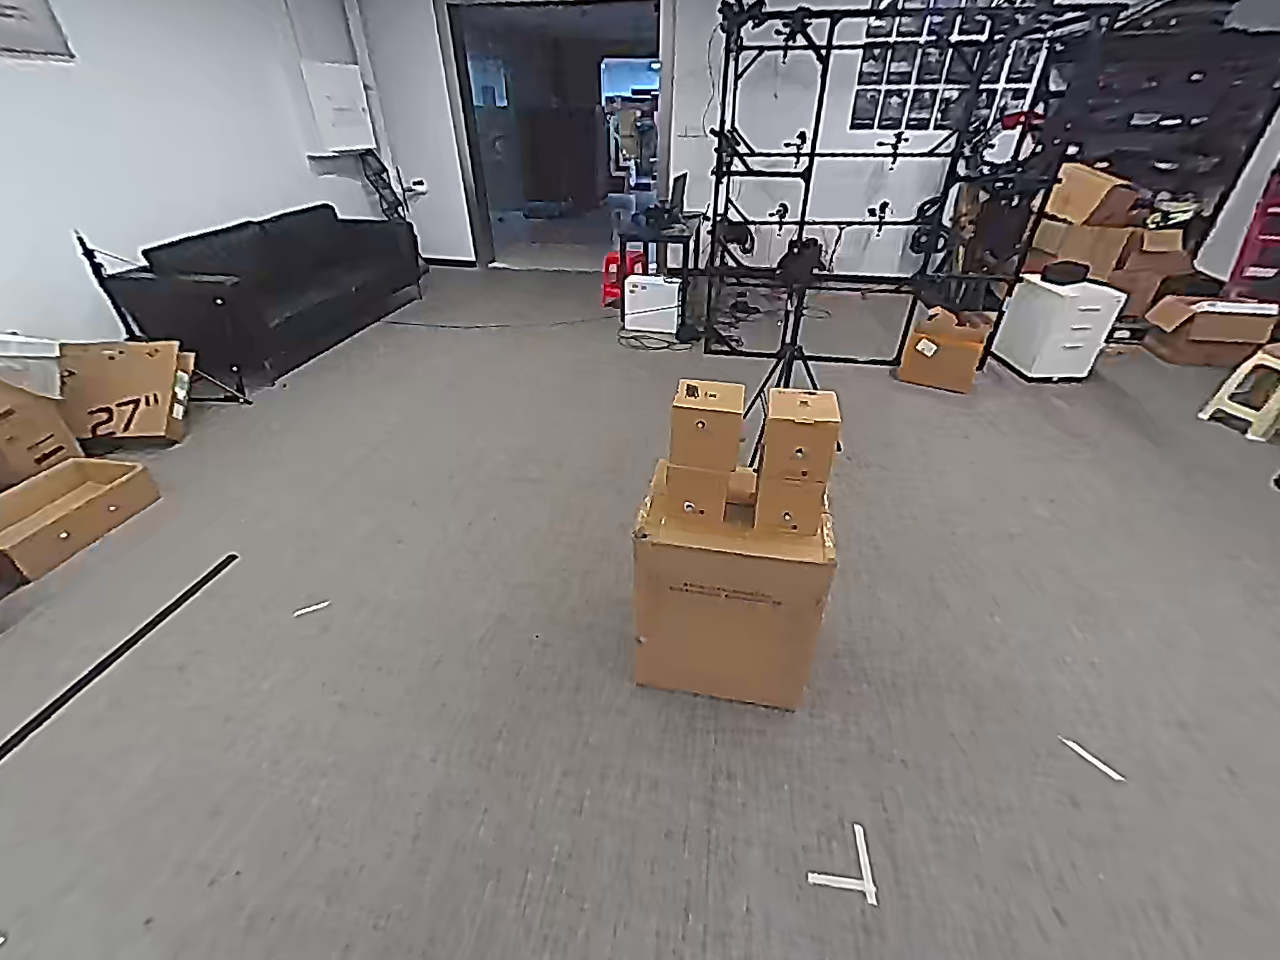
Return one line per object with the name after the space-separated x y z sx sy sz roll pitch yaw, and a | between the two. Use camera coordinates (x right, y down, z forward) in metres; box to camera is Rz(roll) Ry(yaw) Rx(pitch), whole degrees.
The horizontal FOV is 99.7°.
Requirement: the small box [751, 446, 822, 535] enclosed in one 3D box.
0.391 0.026 1.466 0.168 0.176 0.179 4 35 10 | small box

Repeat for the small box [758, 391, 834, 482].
0.393 -0.112 1.377 0.168 0.176 0.179 5 35 11 | small box

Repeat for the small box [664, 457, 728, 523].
0.159 -0.003 1.514 0.168 0.176 0.179 5 36 9 | small box

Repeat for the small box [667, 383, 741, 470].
0.169 -0.141 1.426 0.179 0.176 0.168 7 35 8 | small box
